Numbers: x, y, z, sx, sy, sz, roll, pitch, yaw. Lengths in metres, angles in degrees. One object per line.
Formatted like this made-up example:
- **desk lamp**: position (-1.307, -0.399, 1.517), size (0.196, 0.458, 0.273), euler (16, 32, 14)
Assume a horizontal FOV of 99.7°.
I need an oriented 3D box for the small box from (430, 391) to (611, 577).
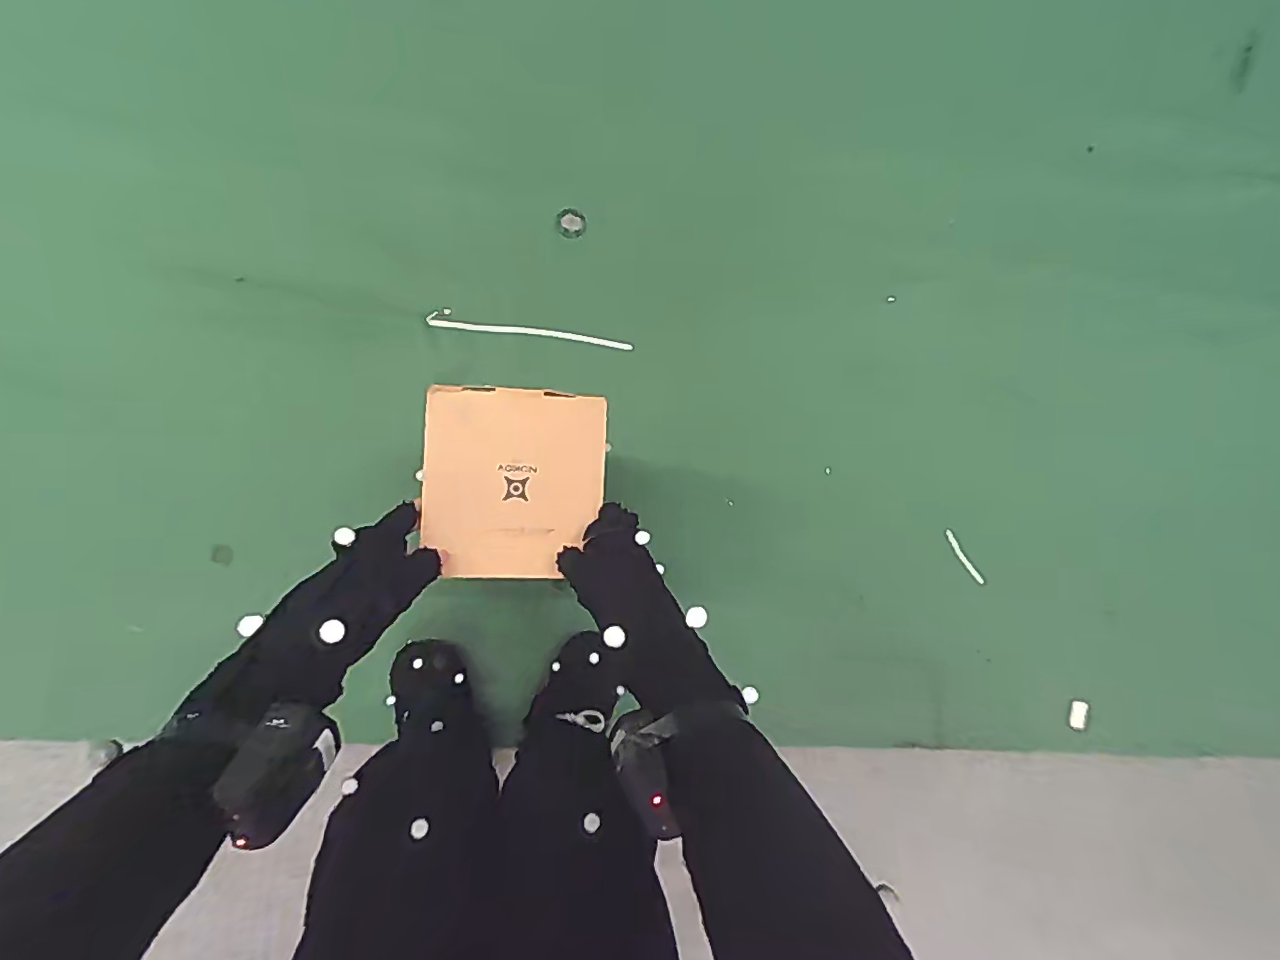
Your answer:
- **small box**: position (-0.126, 0.007, 0.595), size (0.168, 0.176, 0.179), euler (1, 90, -10)
